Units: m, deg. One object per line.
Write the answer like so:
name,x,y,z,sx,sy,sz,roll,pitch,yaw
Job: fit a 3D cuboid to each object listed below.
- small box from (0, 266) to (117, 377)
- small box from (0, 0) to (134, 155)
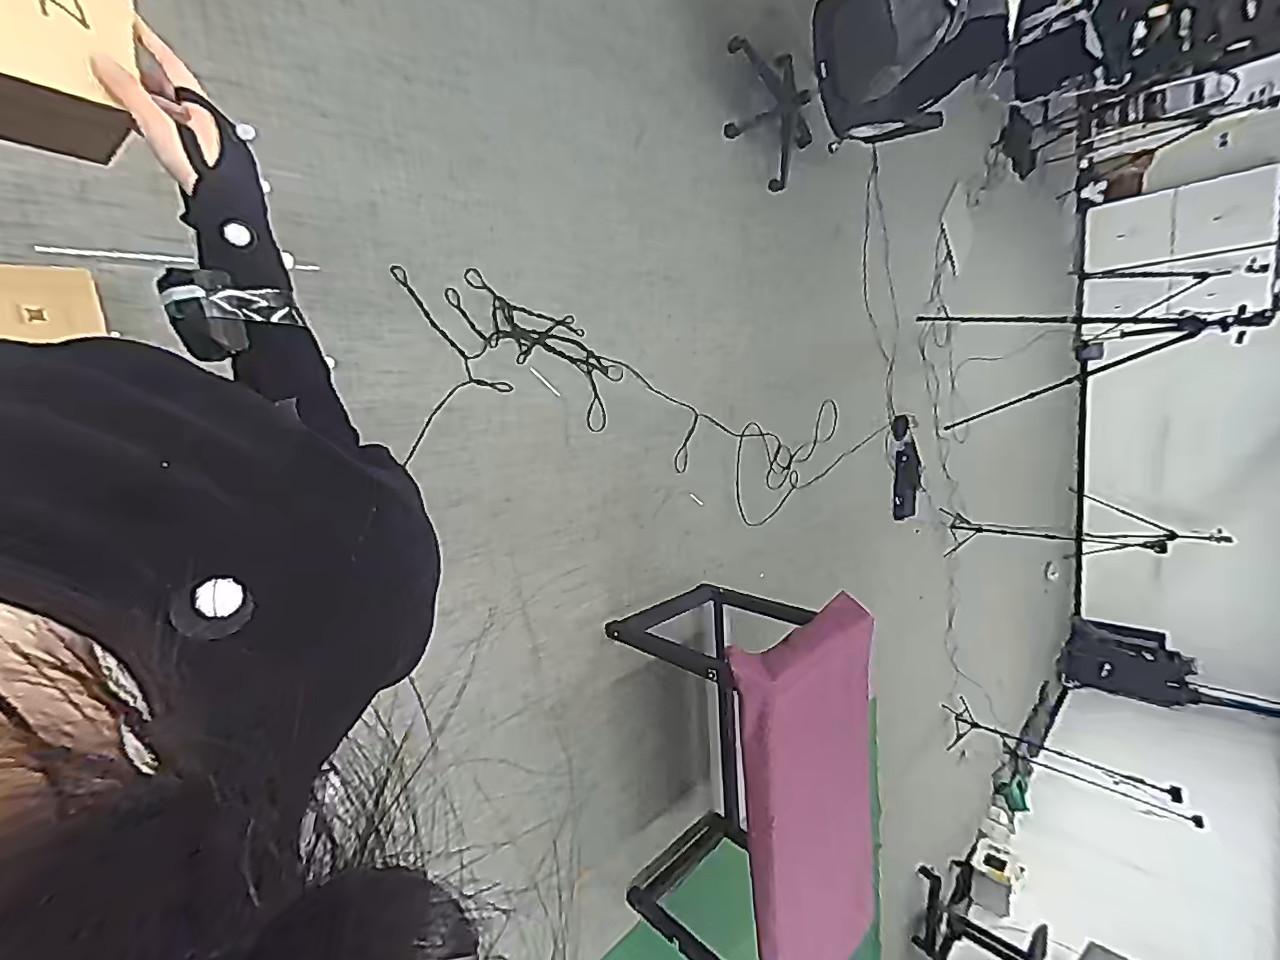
small box,-1.082,-0.279,0.974,0.179,0.176,0.168,-15,103,-41
small box,-0.468,-0.341,0.354,0.179,0.176,0.168,-9,106,-49
